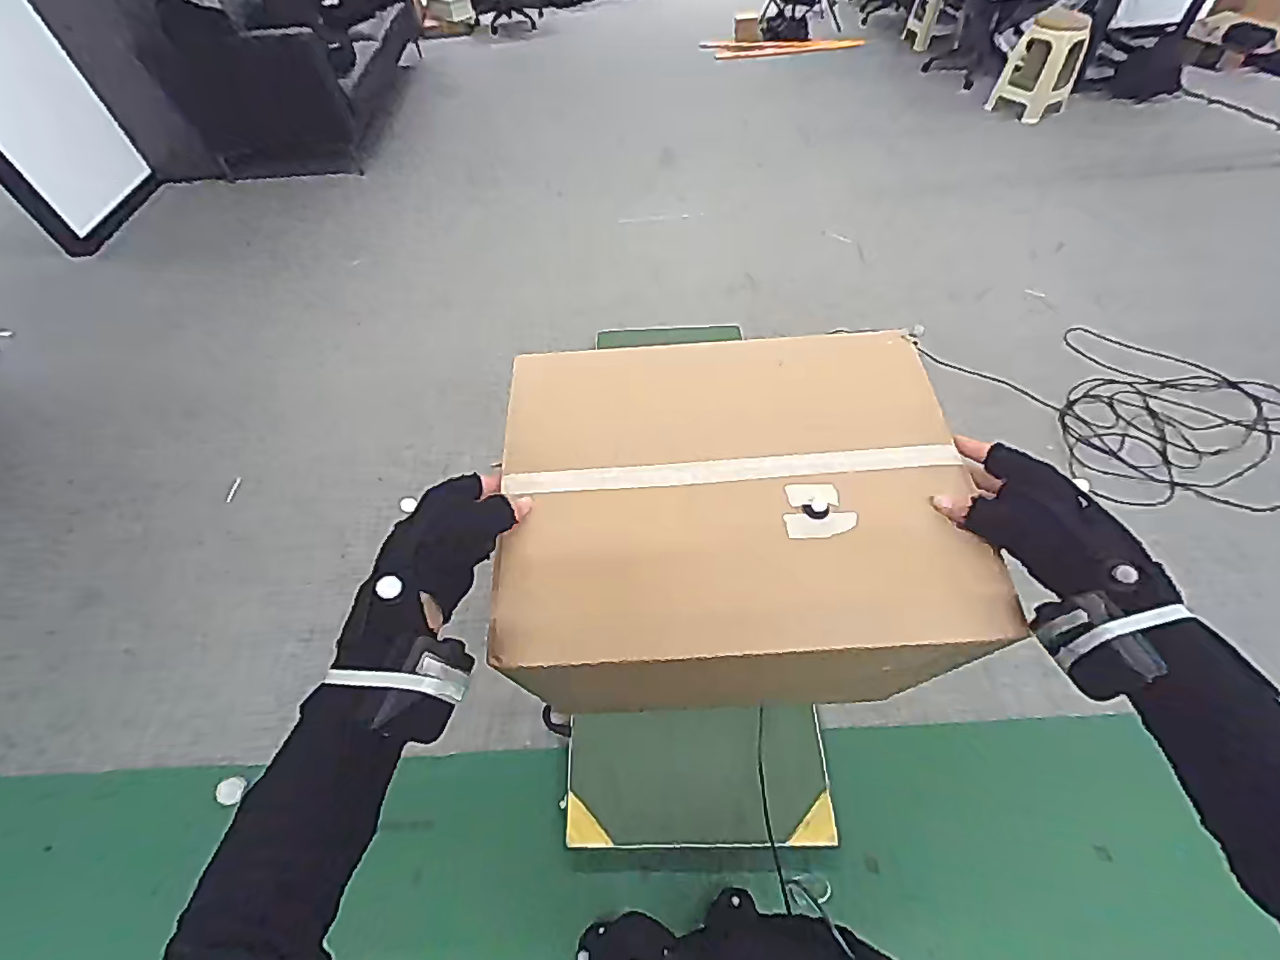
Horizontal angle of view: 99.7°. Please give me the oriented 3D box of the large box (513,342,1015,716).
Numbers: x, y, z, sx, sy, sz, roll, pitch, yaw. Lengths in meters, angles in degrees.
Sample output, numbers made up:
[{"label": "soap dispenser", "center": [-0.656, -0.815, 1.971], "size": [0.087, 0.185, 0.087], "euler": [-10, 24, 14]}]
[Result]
[{"label": "large box", "center": [0.092, 0.074, 0.622], "size": [0.408, 0.320, 0.320], "euler": [-4, 61, 0]}]
